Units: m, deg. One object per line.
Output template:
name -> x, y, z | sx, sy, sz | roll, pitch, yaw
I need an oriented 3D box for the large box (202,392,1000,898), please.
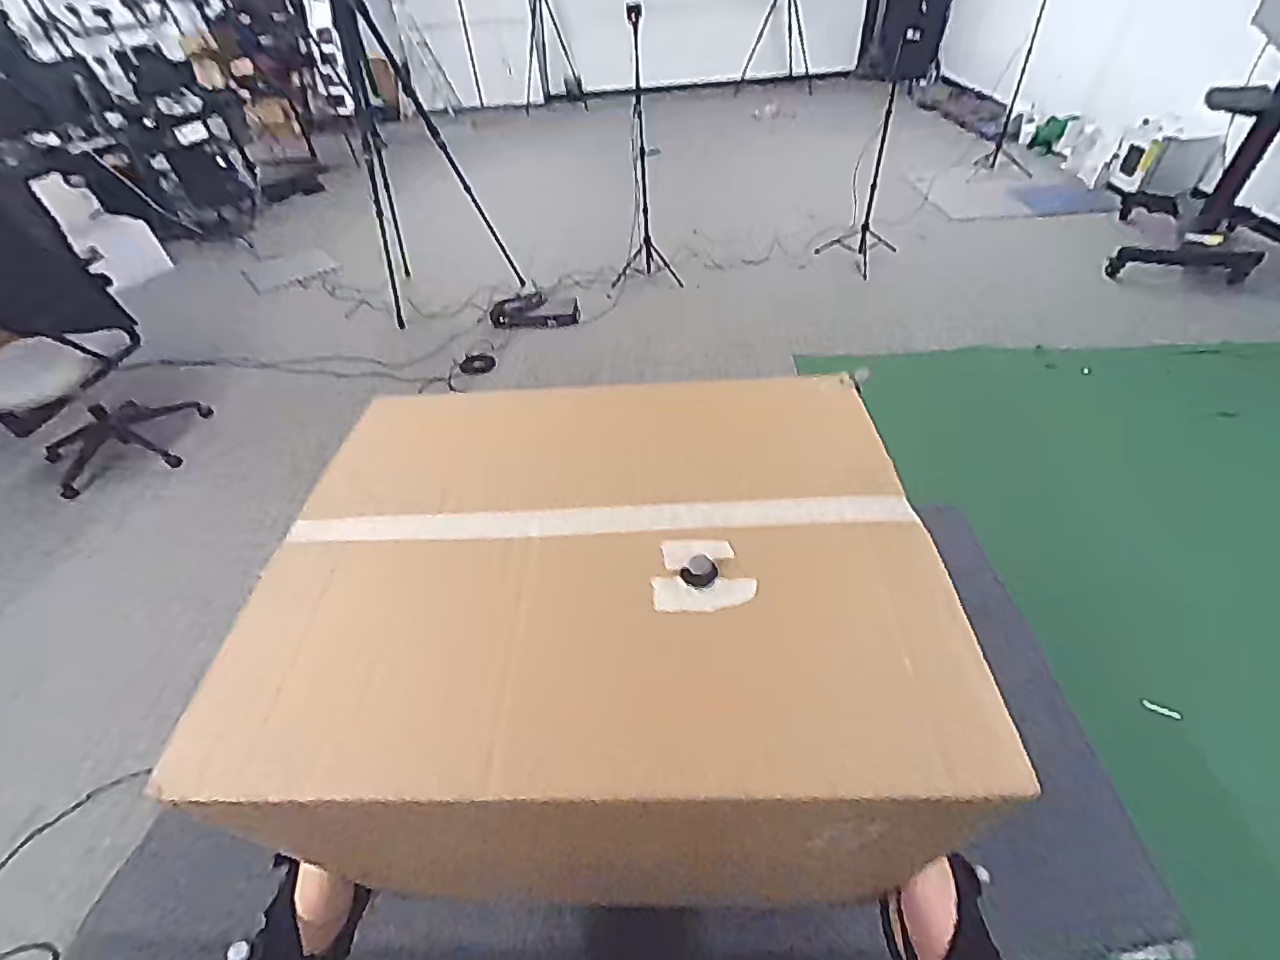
large box -> -0.017, 0.145, 0.472 | 0.408, 0.320, 0.320 | -2, 46, 3
